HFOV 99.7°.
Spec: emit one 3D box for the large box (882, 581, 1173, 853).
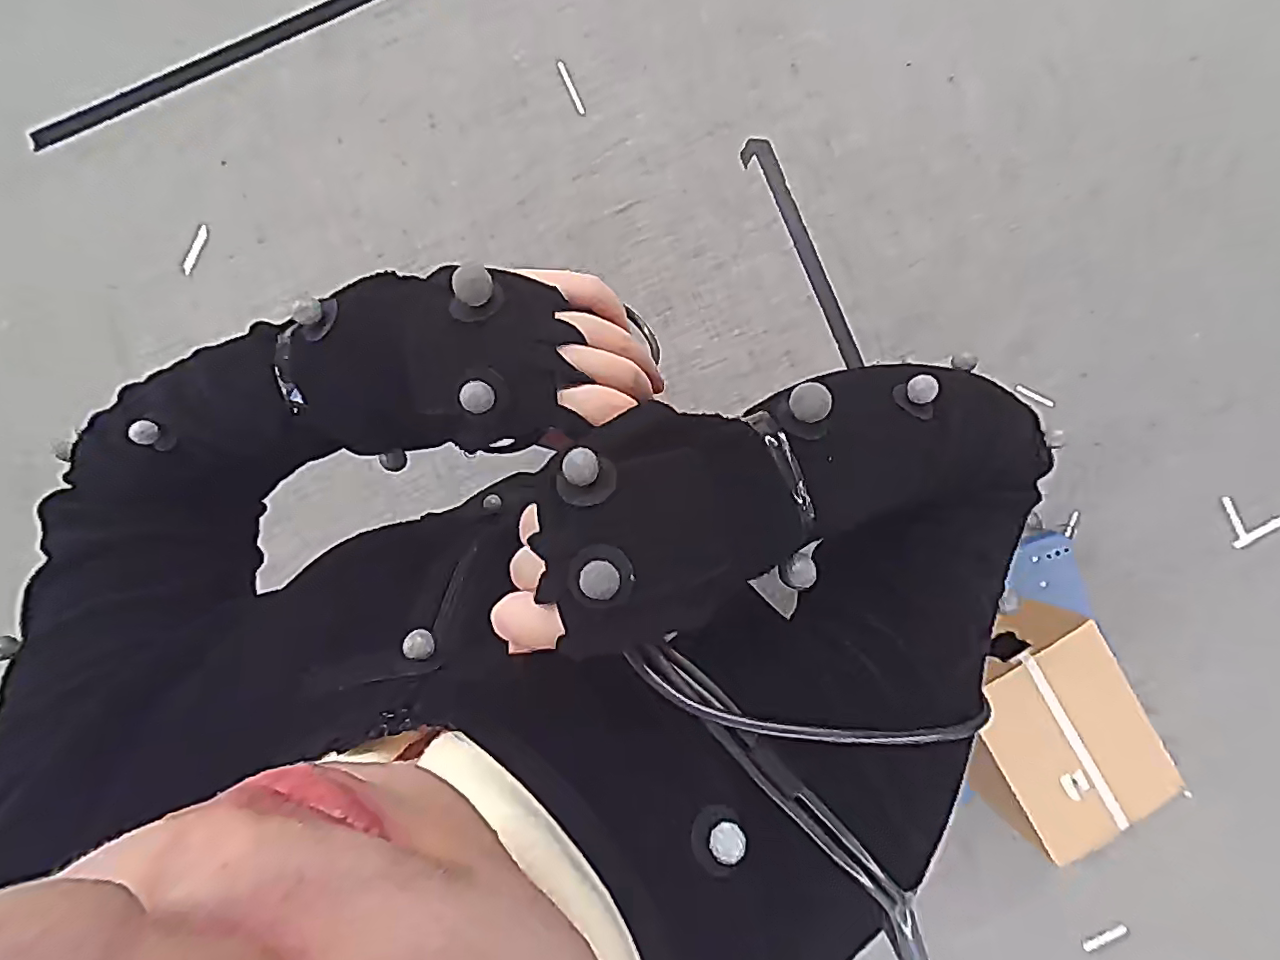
[{"bbox_3d":[0.841,0.500,1.226,0.320,0.320,0.408,-30,93,-1],"label":"large box"}]
